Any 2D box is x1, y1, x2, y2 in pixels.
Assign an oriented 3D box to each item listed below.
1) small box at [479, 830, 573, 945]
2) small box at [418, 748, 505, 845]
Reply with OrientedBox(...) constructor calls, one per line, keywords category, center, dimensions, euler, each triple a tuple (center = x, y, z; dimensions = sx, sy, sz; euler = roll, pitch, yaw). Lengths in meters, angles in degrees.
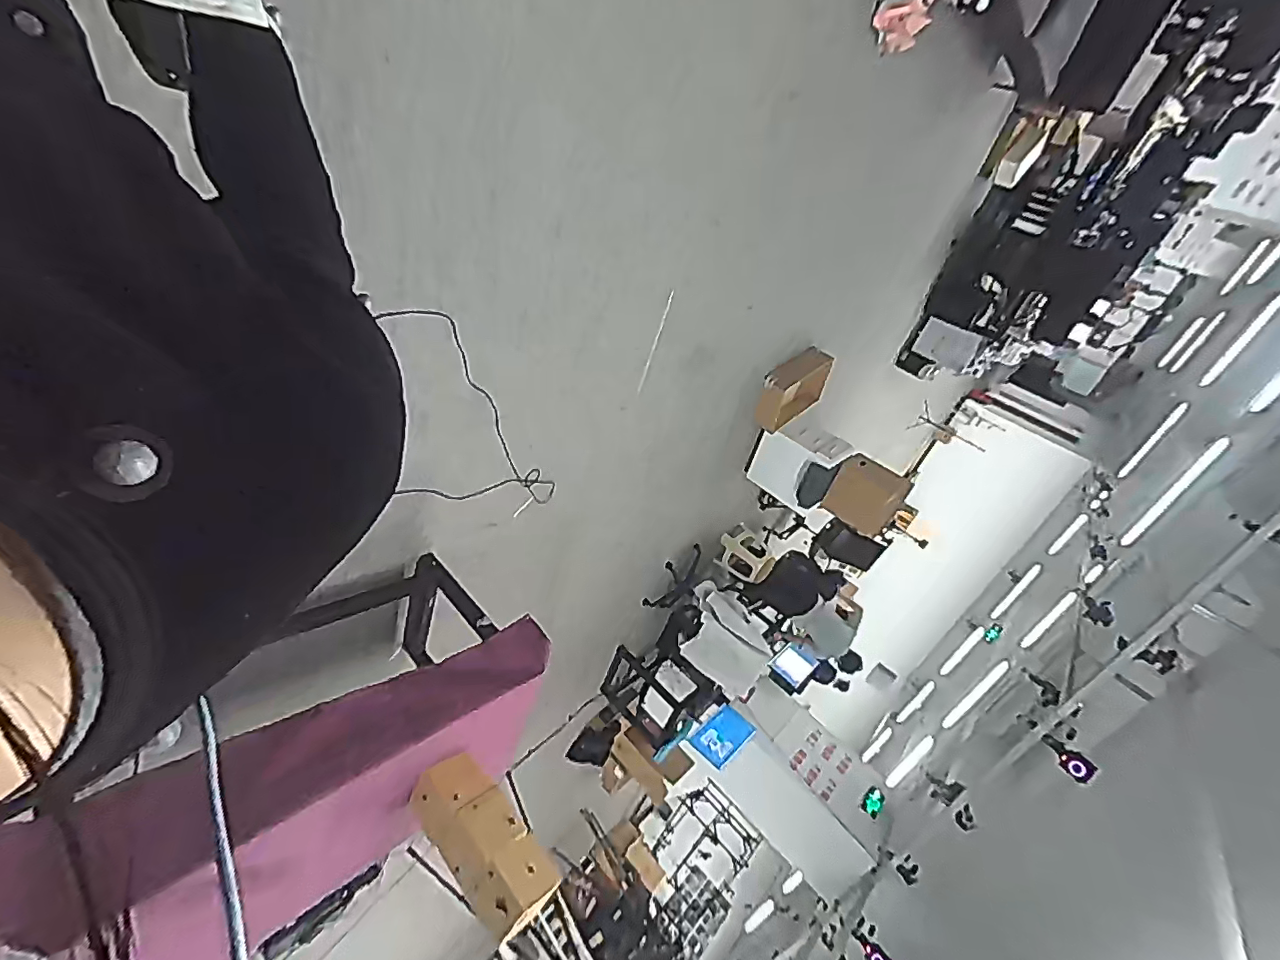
OrientedBox(category="small box", center=(-0.341, 1.190, 1.593), dimensions=(0.168, 0.176, 0.179), euler=(-58, 152, 12))
OrientedBox(category="small box", center=(-0.574, 1.002, 1.732), dimensions=(0.179, 0.176, 0.168), euler=(-1, 123, -55))
